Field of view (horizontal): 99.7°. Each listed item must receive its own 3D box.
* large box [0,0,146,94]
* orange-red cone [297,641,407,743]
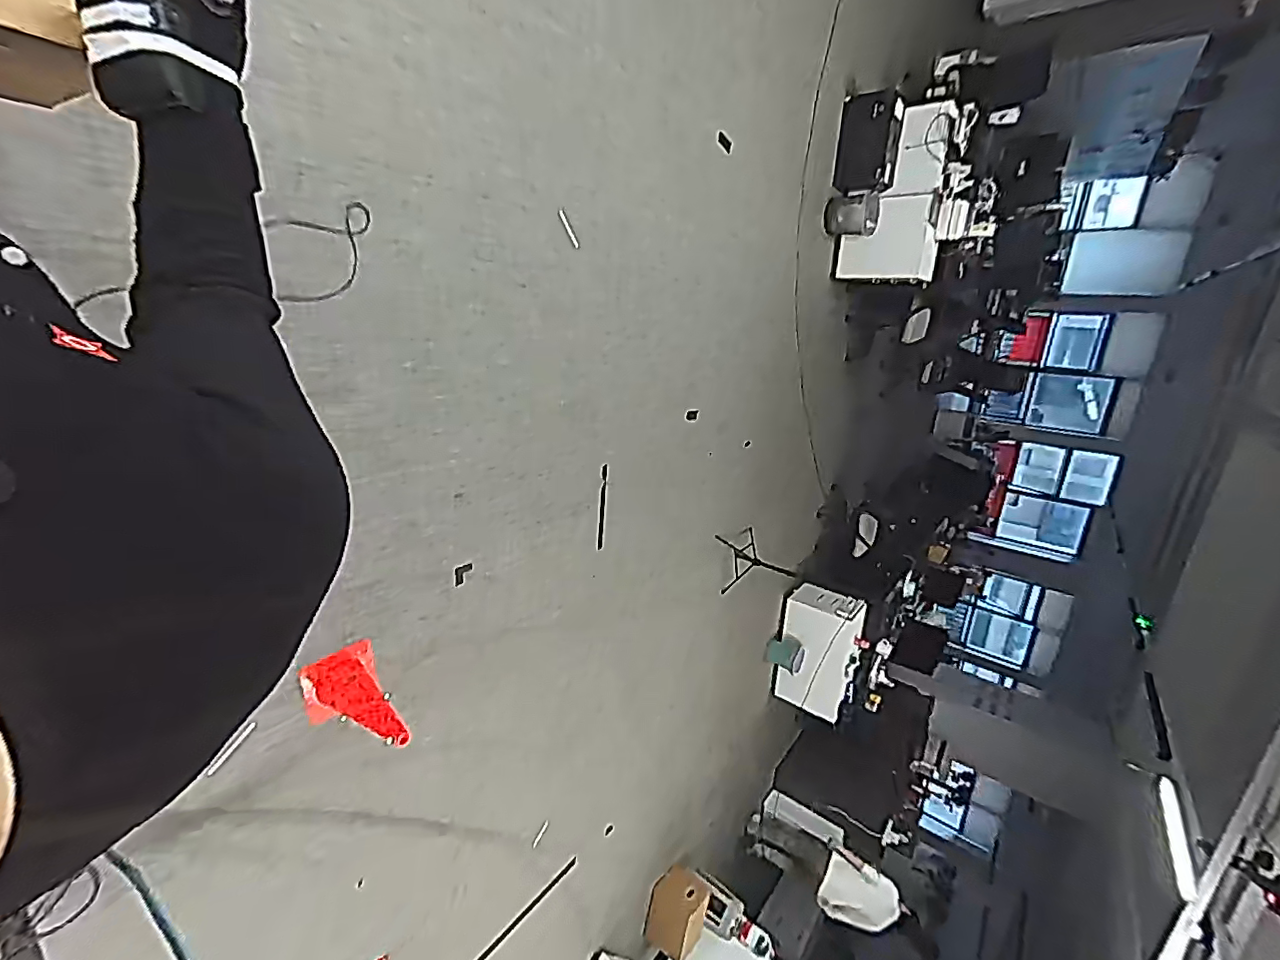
[{"bbox_3d":[-0.564,-0.440,0.251,0.408,0.320,0.320,-19,122,-53],"label":"large box"},{"bbox_3d":[-0.764,0.632,1.505,0.198,0.360,0.199,-22,119,-50],"label":"orange-red cone"}]
